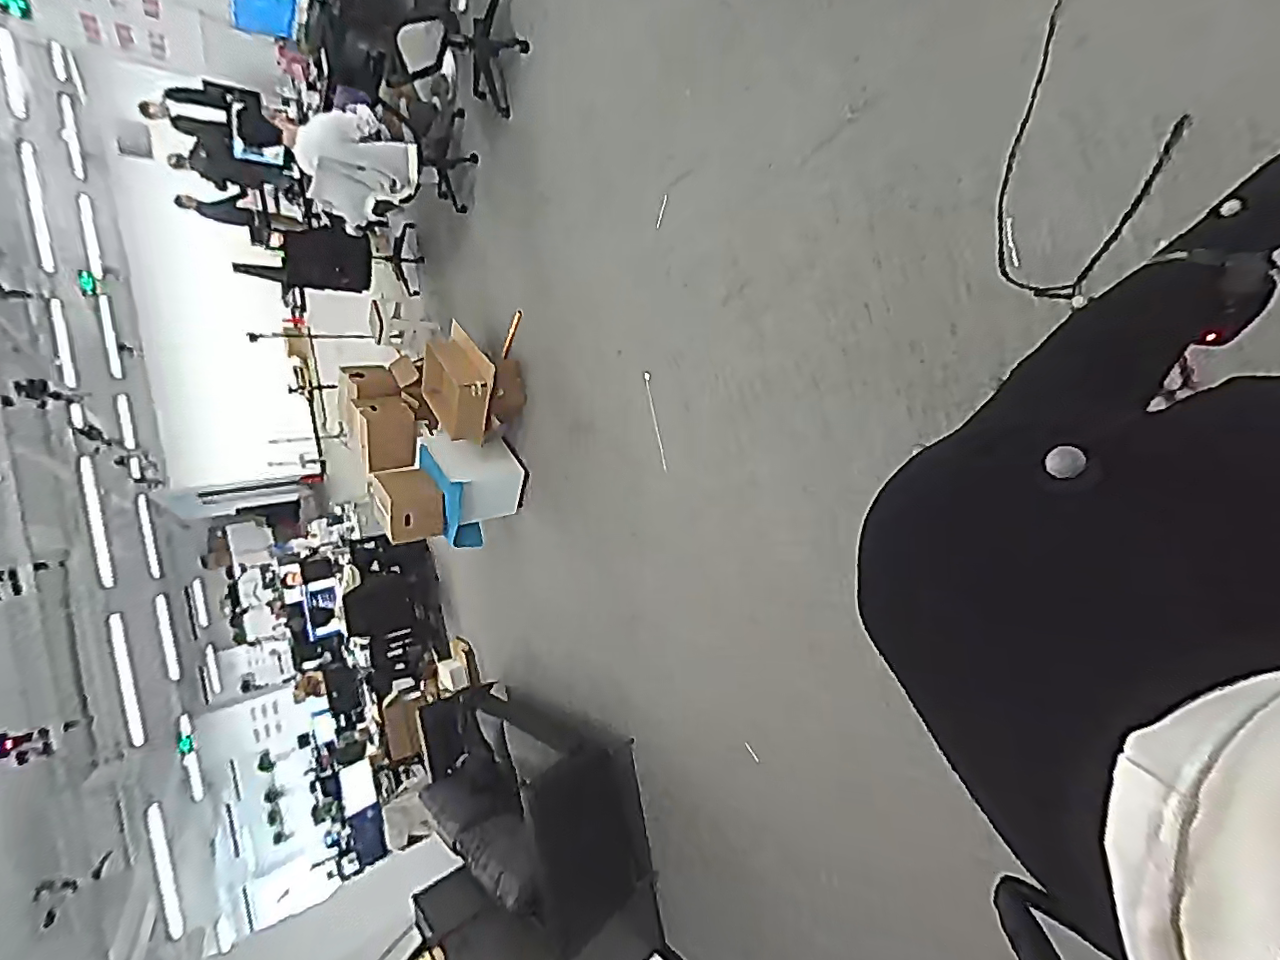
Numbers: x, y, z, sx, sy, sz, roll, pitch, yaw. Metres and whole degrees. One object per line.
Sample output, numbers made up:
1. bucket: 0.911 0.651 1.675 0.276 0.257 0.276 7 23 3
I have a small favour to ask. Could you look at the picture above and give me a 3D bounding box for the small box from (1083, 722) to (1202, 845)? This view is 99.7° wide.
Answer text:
1. small box: 1.176 0.693 1.263 0.179 0.176 0.168 -9 91 52
